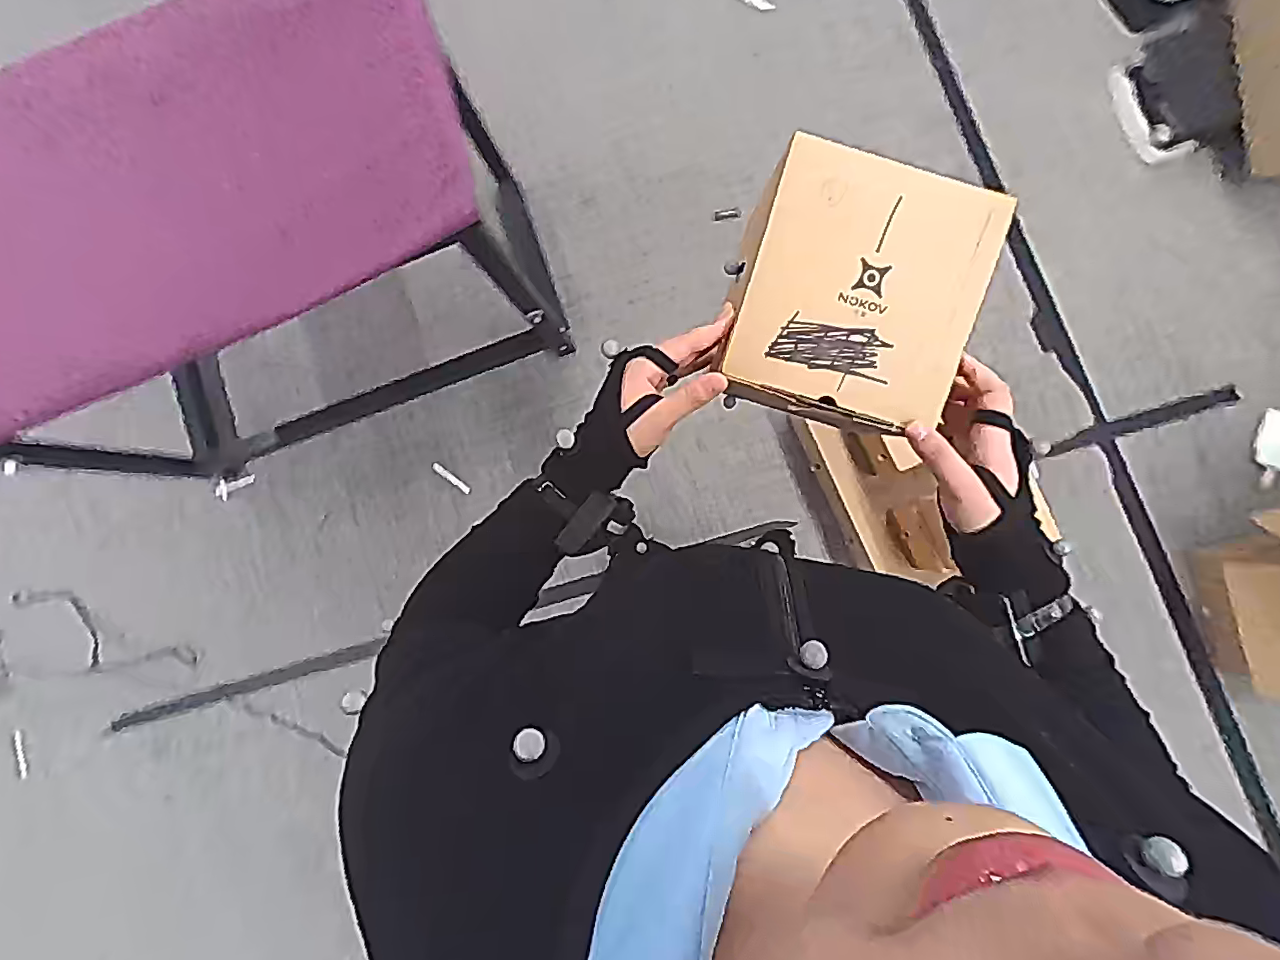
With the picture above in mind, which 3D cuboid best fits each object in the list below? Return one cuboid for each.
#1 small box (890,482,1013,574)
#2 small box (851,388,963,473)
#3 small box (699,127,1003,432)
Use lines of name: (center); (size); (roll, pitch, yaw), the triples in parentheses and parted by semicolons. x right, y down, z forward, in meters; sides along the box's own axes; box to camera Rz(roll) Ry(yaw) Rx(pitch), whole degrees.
small box: (0.749, 0.115, 1.320); (0.179, 0.176, 0.168); (-23, 83, 4)
small box: (0.651, -0.125, 1.343); (0.168, 0.176, 0.179); (-24, 85, 3)
small box: (0.153, -0.148, 0.463); (0.168, 0.176, 0.179); (16, 97, -2)
